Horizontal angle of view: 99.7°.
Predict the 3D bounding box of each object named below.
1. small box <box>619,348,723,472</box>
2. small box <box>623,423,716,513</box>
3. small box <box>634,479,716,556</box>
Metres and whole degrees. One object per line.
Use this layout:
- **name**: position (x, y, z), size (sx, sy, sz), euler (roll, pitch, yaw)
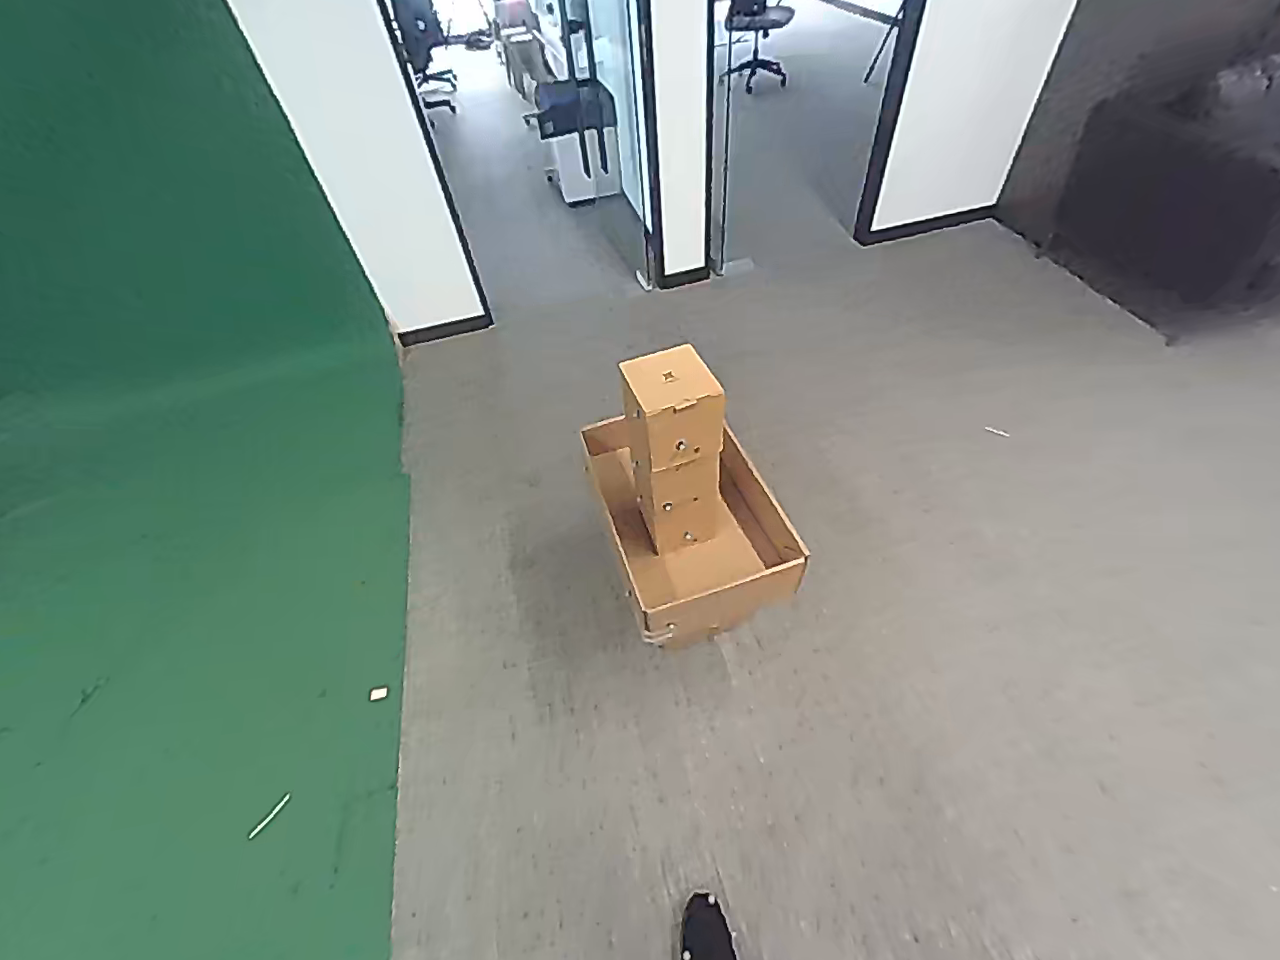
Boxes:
- **small box**: position (0.063, -0.148, 1.146), size (0.168, 0.176, 0.179), euler (-18, 50, -10)
- **small box**: position (0.072, -0.043, 1.269), size (0.168, 0.176, 0.179), euler (-18, 48, -9)
- **small box**: position (0.087, 0.065, 1.392), size (0.168, 0.176, 0.179), euler (-17, 49, -7)
